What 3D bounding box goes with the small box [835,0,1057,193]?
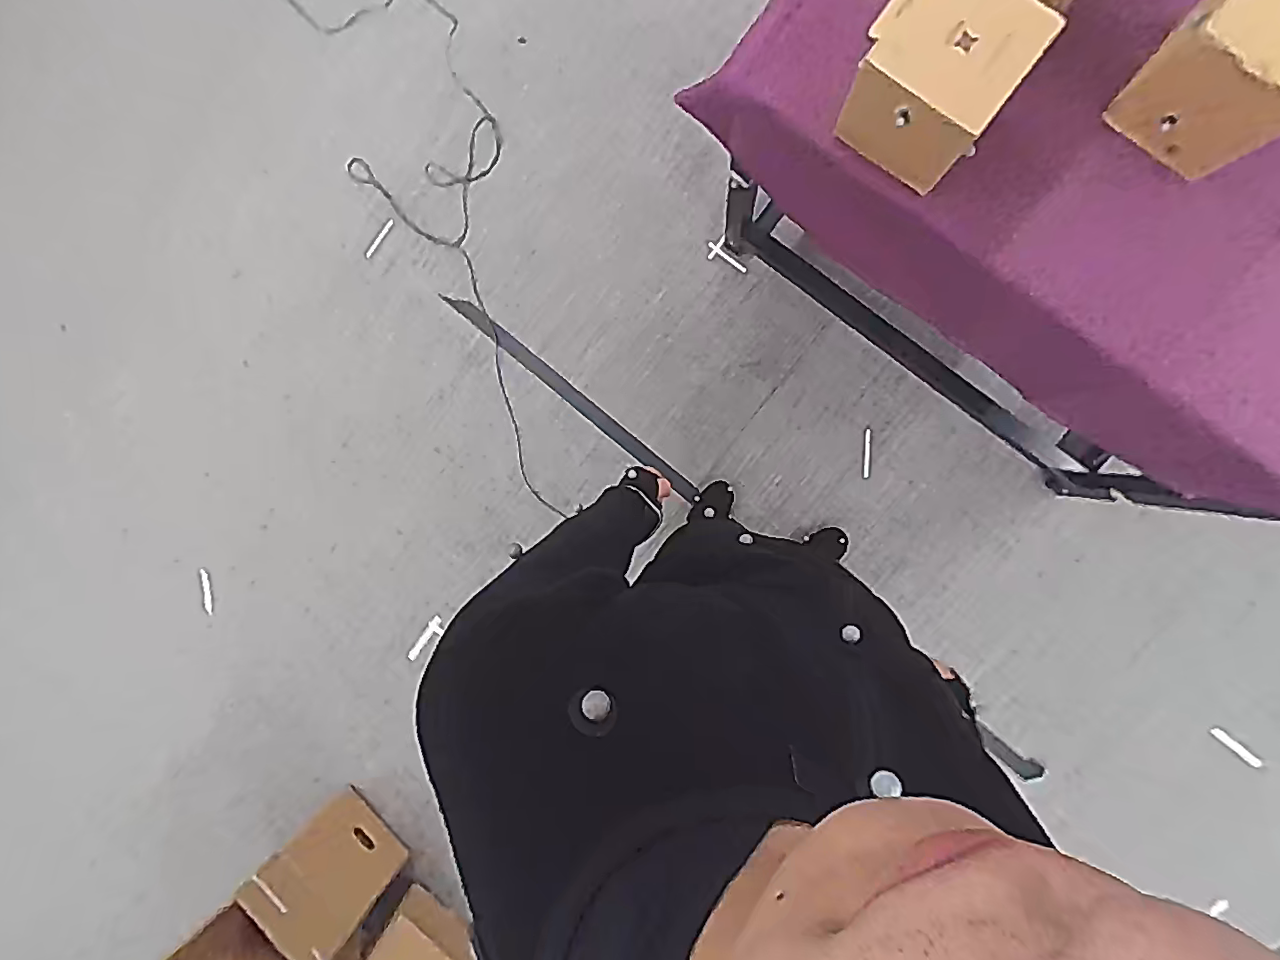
[{"bbox_3d":[0.403,-0.543,0.751,0.179,0.176,0.168,38,96,3],"label":"small box"}]
